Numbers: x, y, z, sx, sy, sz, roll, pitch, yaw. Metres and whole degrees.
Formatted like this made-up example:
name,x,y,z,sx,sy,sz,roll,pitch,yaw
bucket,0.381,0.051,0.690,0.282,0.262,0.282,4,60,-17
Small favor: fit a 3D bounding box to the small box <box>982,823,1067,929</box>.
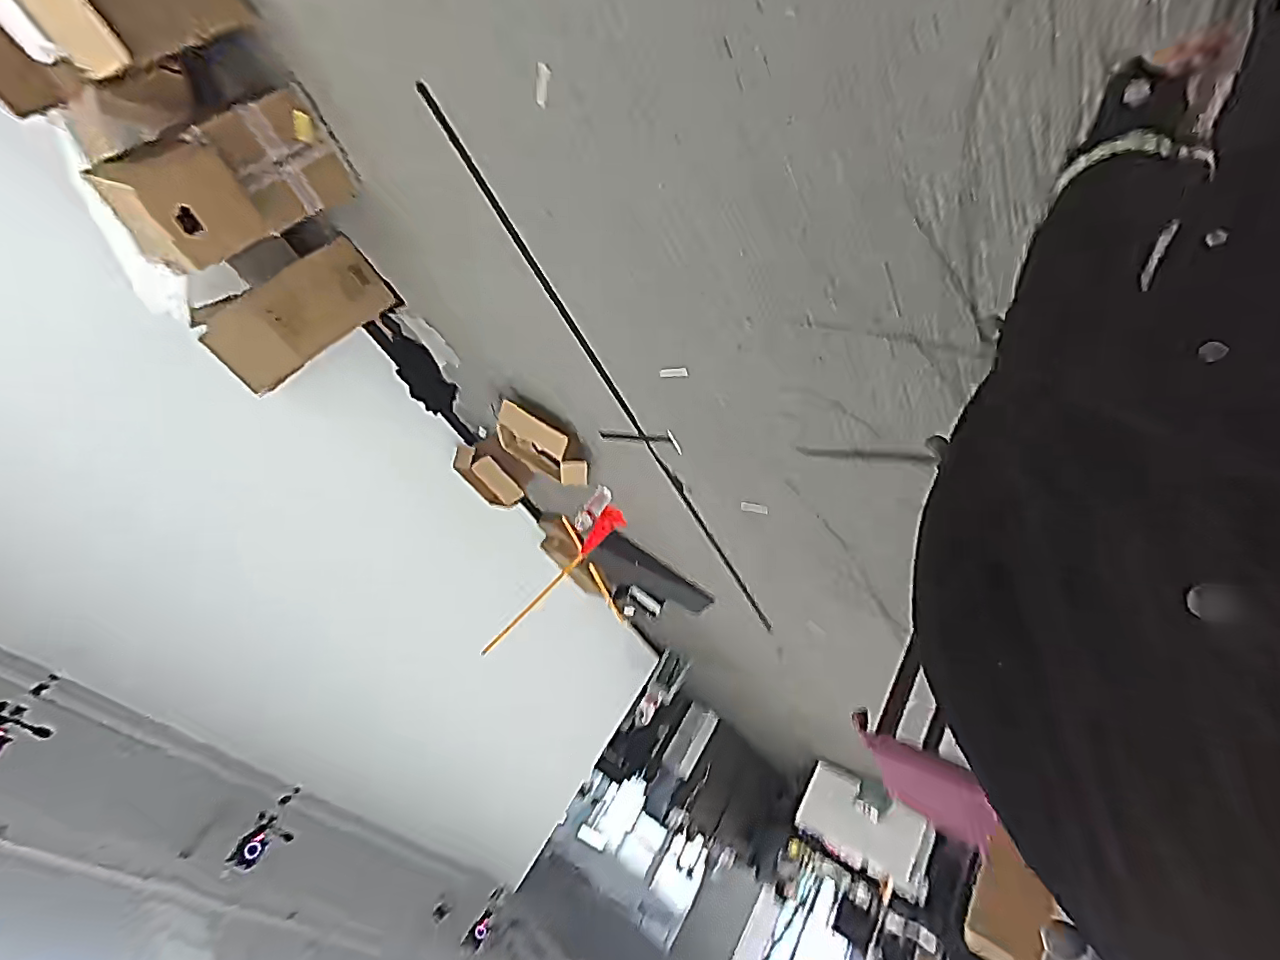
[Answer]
name,x,y,z,sx,sy,sz,roll,pitch,yaw
small box,1.128,1.154,1.583,0.179,0.176,0.168,11,143,45
